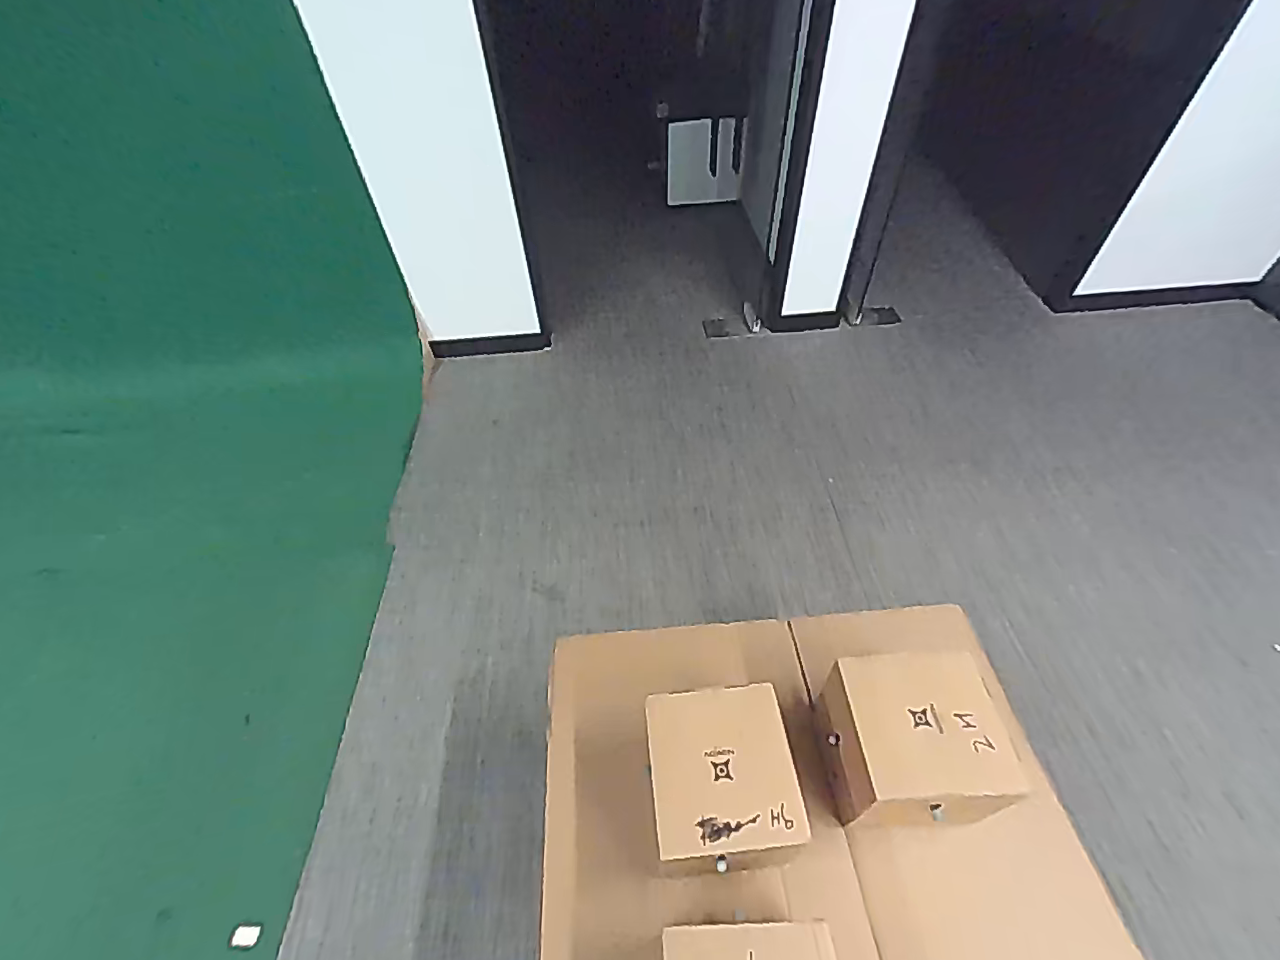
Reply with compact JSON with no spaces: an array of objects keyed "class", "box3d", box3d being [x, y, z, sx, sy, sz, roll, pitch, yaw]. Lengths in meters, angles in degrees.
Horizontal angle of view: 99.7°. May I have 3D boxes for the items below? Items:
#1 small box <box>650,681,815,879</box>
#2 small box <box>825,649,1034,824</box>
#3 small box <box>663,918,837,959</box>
[{"class":"small box","box3d":[0.102,0.380,0.684,0.168,0.176,0.179,-6,47,-1]},{"class":"small box","box3d":[0.351,0.337,0.704,0.179,0.176,0.168,-4,49,3]},{"class":"small box","box3d":[0.113,0.550,0.532,0.168,0.176,0.179,-4,48,1]}]
